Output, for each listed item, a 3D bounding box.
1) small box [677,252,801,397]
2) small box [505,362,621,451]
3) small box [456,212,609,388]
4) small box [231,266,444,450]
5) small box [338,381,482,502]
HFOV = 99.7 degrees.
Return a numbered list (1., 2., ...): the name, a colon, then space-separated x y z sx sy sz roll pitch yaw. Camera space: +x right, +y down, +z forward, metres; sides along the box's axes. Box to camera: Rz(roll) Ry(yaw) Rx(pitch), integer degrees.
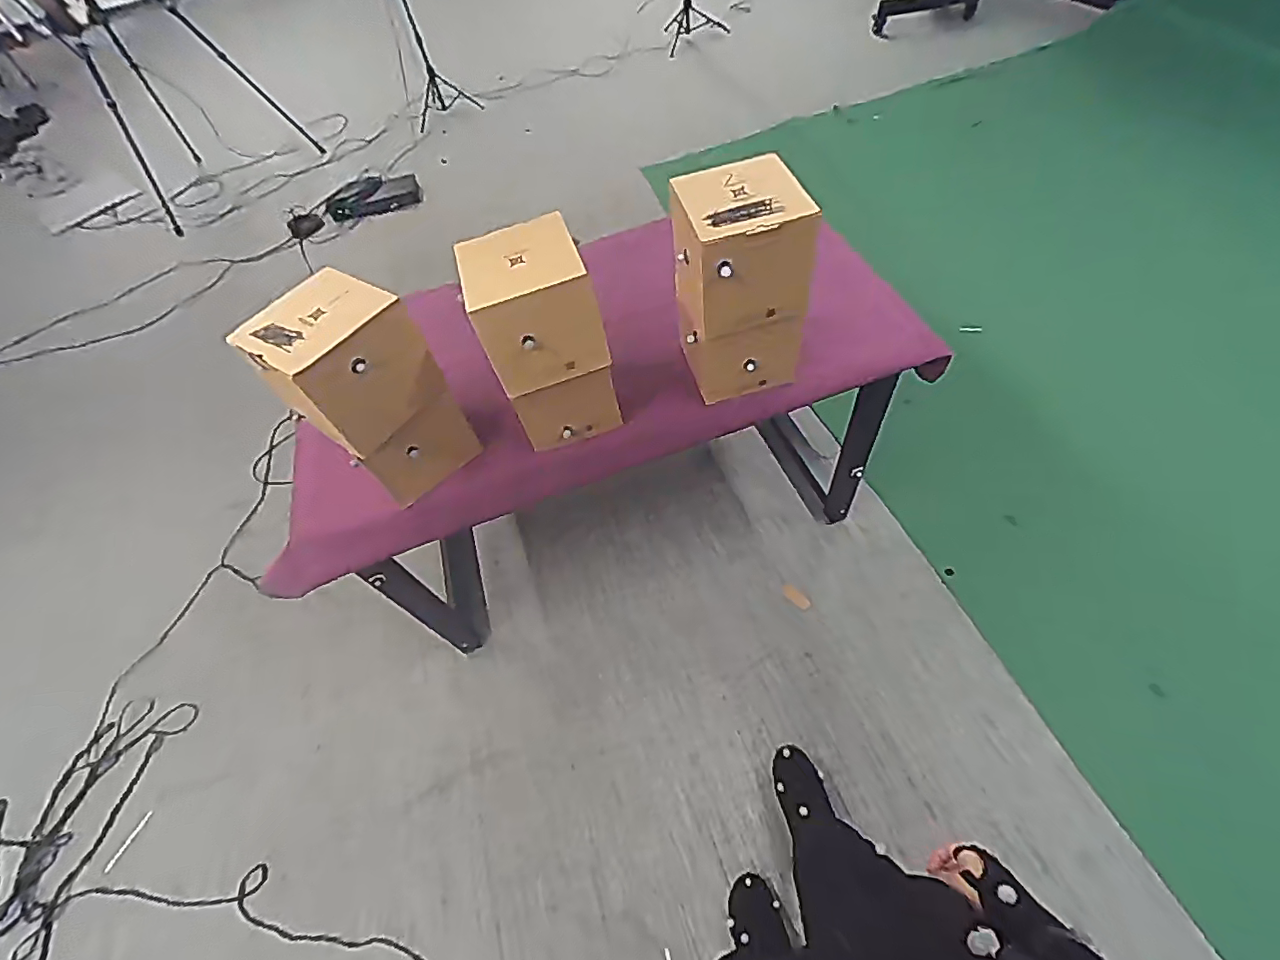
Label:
1. small box: 0.170 -0.268 0.965 0.168 0.176 0.179 -14 55 -2
2. small box: -0.142 -0.181 0.955 0.168 0.176 0.179 -19 55 -3
3. small box: -0.156 -0.260 0.813 0.168 0.176 0.179 -19 54 -3
4. small box: -0.425 -0.174 0.789 0.168 0.176 0.179 27 63 24
5. small box: -0.408 -0.094 0.933 0.179 0.176 0.168 -40 60 -18
